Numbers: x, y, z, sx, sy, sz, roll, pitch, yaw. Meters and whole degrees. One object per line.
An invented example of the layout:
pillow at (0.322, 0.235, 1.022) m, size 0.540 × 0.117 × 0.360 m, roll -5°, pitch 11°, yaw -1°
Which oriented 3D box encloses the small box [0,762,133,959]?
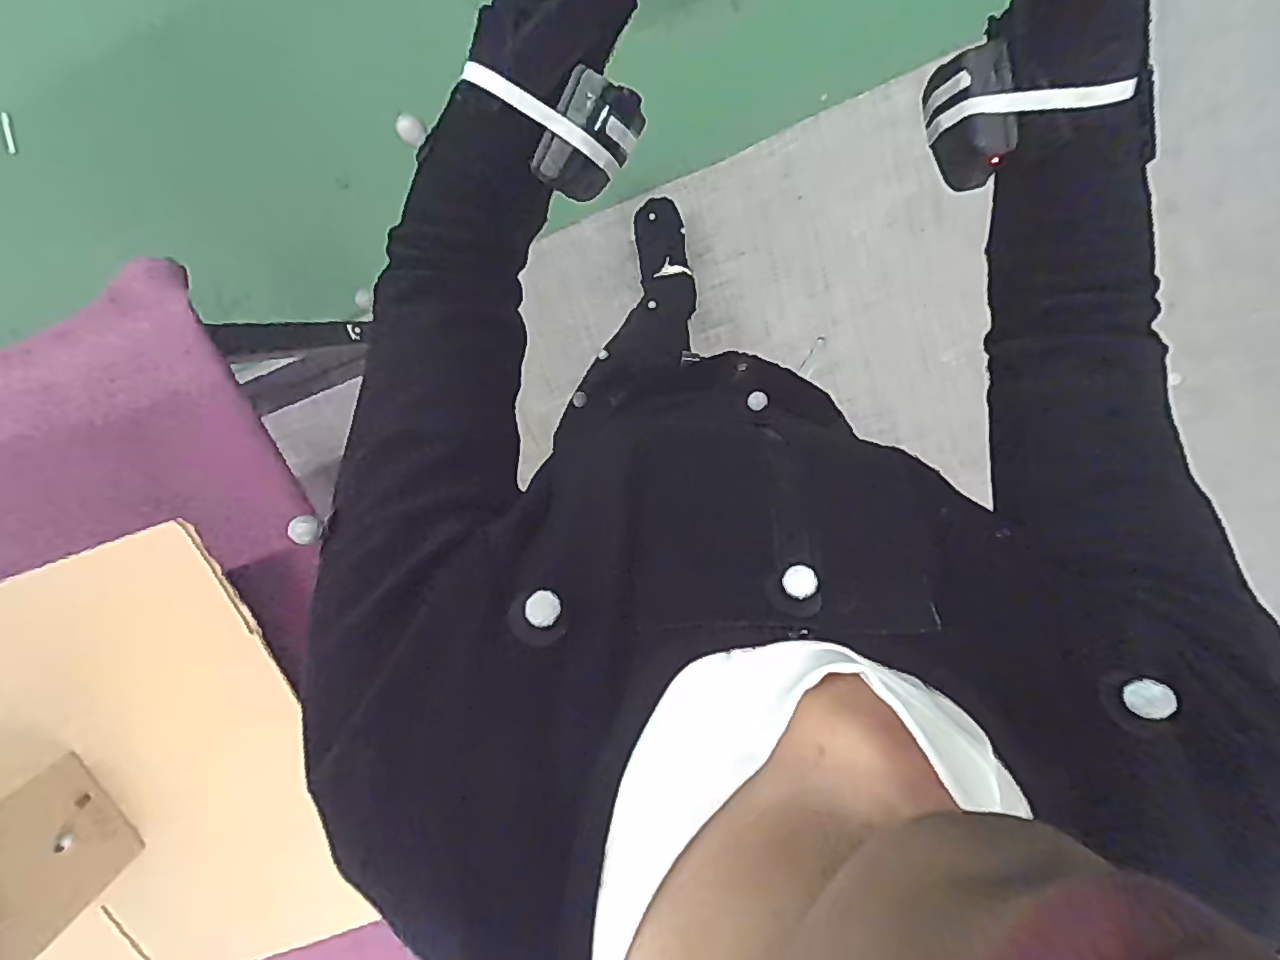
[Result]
small box at (-0.746, 0.453, 0.601) m, size 0.179 × 0.176 × 0.168 m, roll -17°, pitch 106°, yaw 8°
